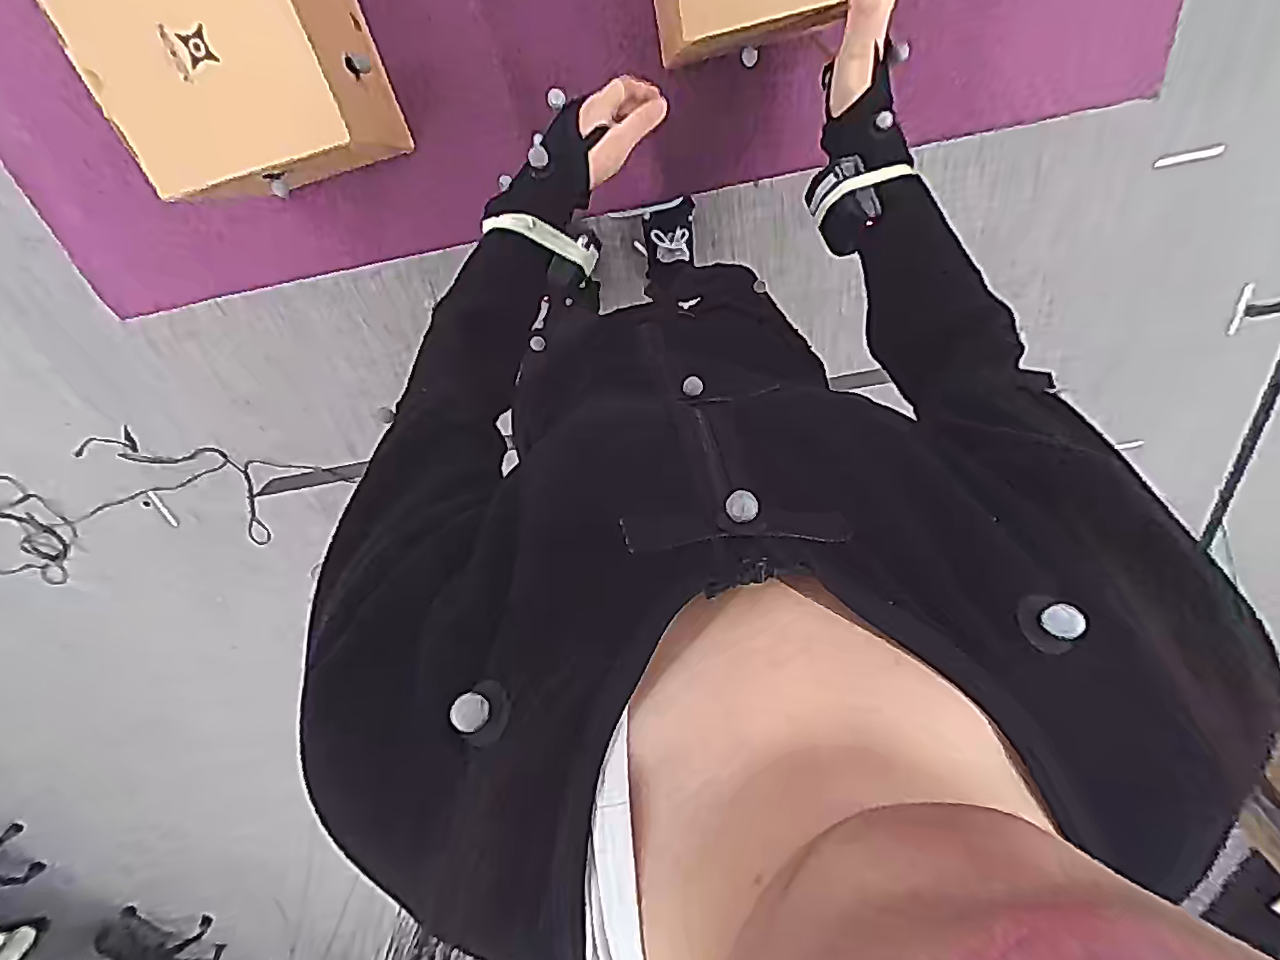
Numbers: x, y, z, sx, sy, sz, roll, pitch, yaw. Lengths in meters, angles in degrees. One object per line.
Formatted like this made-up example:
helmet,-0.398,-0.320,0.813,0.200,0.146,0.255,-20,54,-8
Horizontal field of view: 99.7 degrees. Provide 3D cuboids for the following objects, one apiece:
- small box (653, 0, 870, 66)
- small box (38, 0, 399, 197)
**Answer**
small box,0.089,-0.464,0.431,0.168,0.176,0.179,-11,121,4
small box,-0.337,-0.363,0.470,0.179,0.176,0.168,-13,120,5
